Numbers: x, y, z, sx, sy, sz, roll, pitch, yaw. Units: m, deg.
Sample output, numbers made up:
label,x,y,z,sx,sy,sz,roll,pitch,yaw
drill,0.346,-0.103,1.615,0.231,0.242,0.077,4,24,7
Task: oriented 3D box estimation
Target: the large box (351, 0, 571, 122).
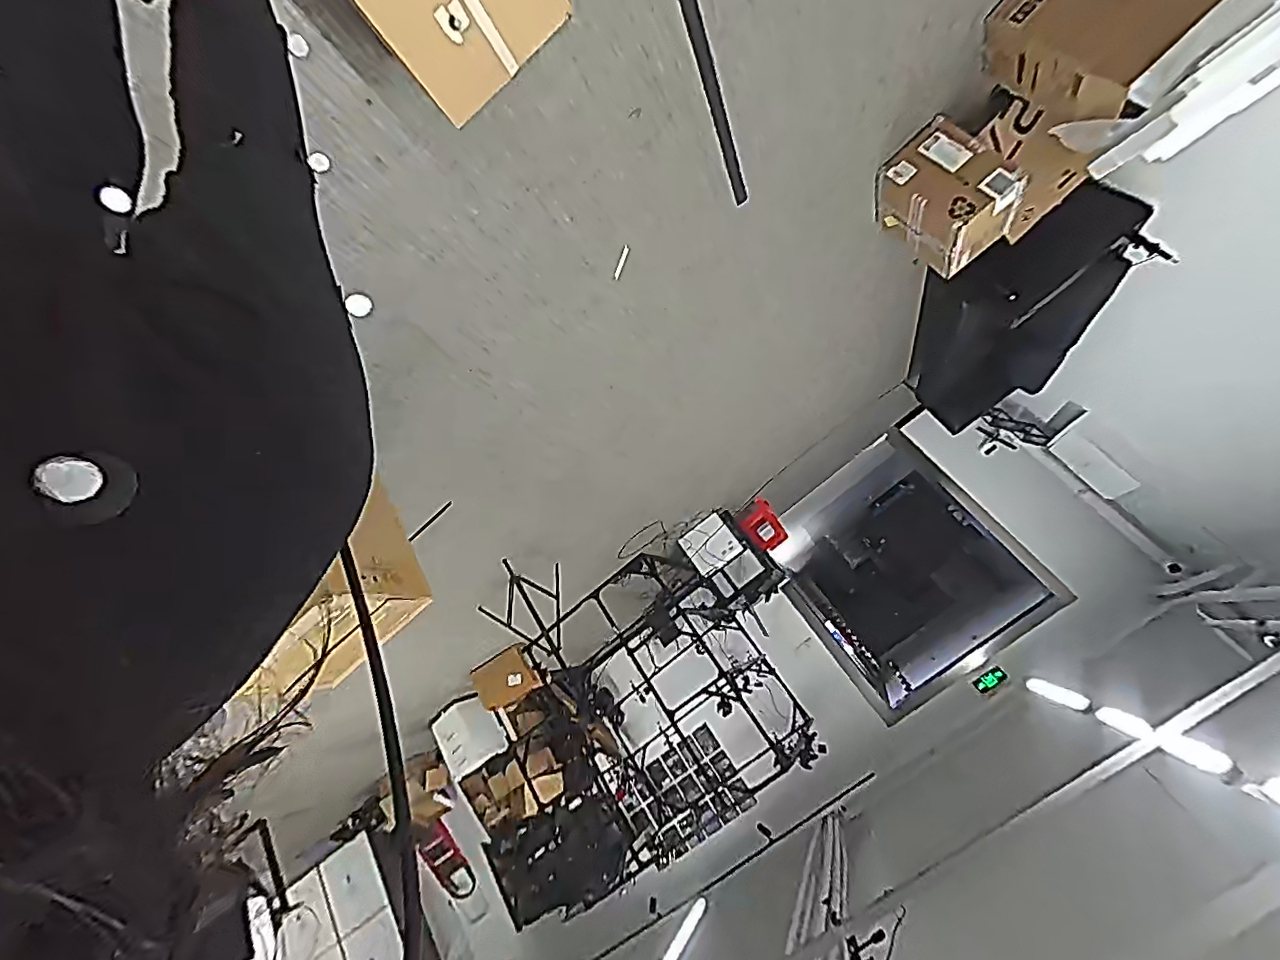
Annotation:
label,x,y,z,sx,sy,sz,roll,pitch,yaw
large box,-0.394,-0.945,0.912,0.320,0.320,0.408,-39,158,8
